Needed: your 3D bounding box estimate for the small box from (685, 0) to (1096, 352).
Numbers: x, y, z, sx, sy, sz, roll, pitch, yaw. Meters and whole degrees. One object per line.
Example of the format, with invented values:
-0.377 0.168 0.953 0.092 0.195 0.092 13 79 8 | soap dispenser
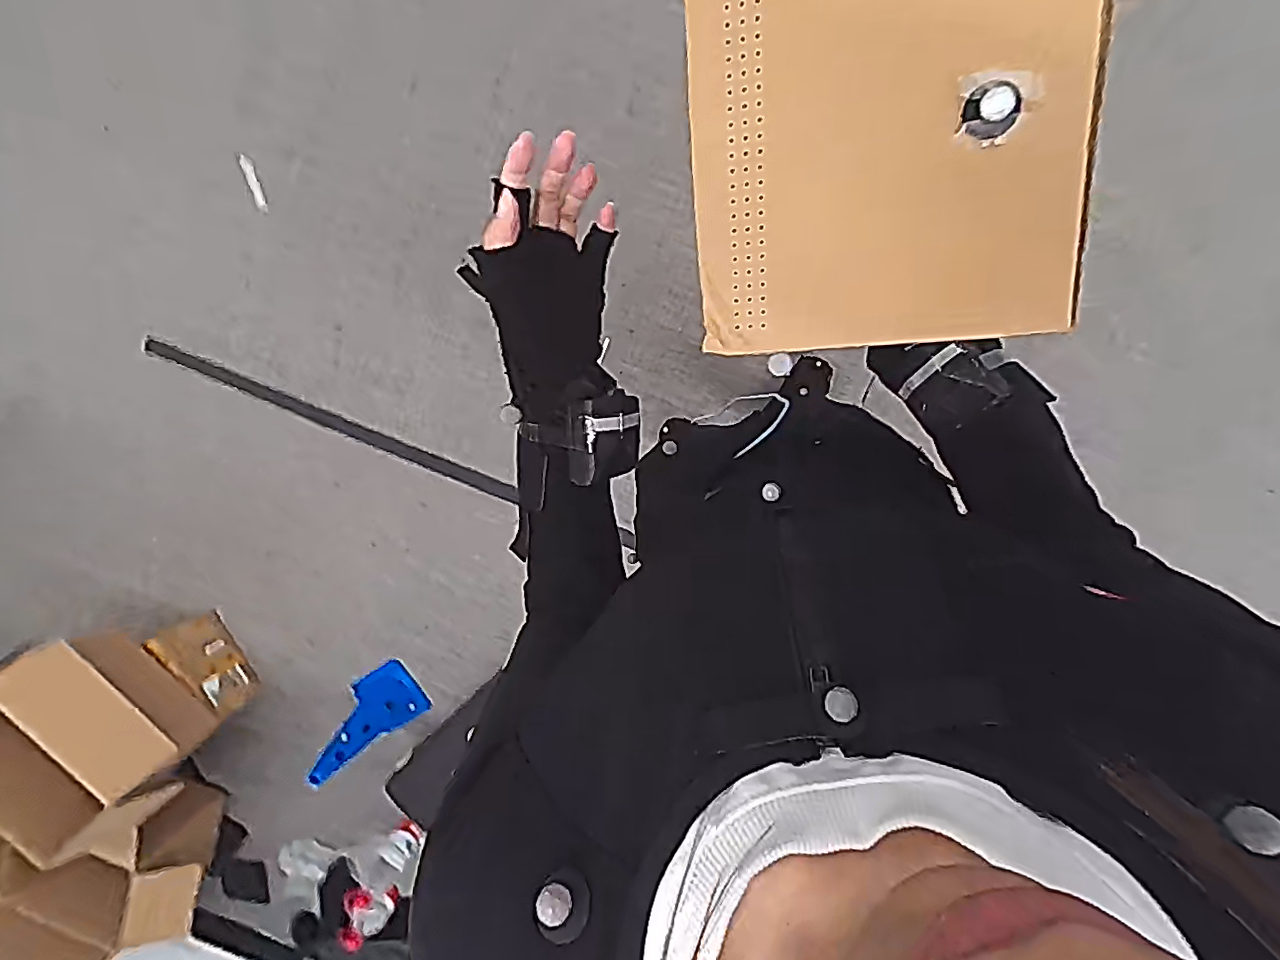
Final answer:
0.122 -0.174 0.321 0.176 0.168 0.179 0 106 15 | small box
